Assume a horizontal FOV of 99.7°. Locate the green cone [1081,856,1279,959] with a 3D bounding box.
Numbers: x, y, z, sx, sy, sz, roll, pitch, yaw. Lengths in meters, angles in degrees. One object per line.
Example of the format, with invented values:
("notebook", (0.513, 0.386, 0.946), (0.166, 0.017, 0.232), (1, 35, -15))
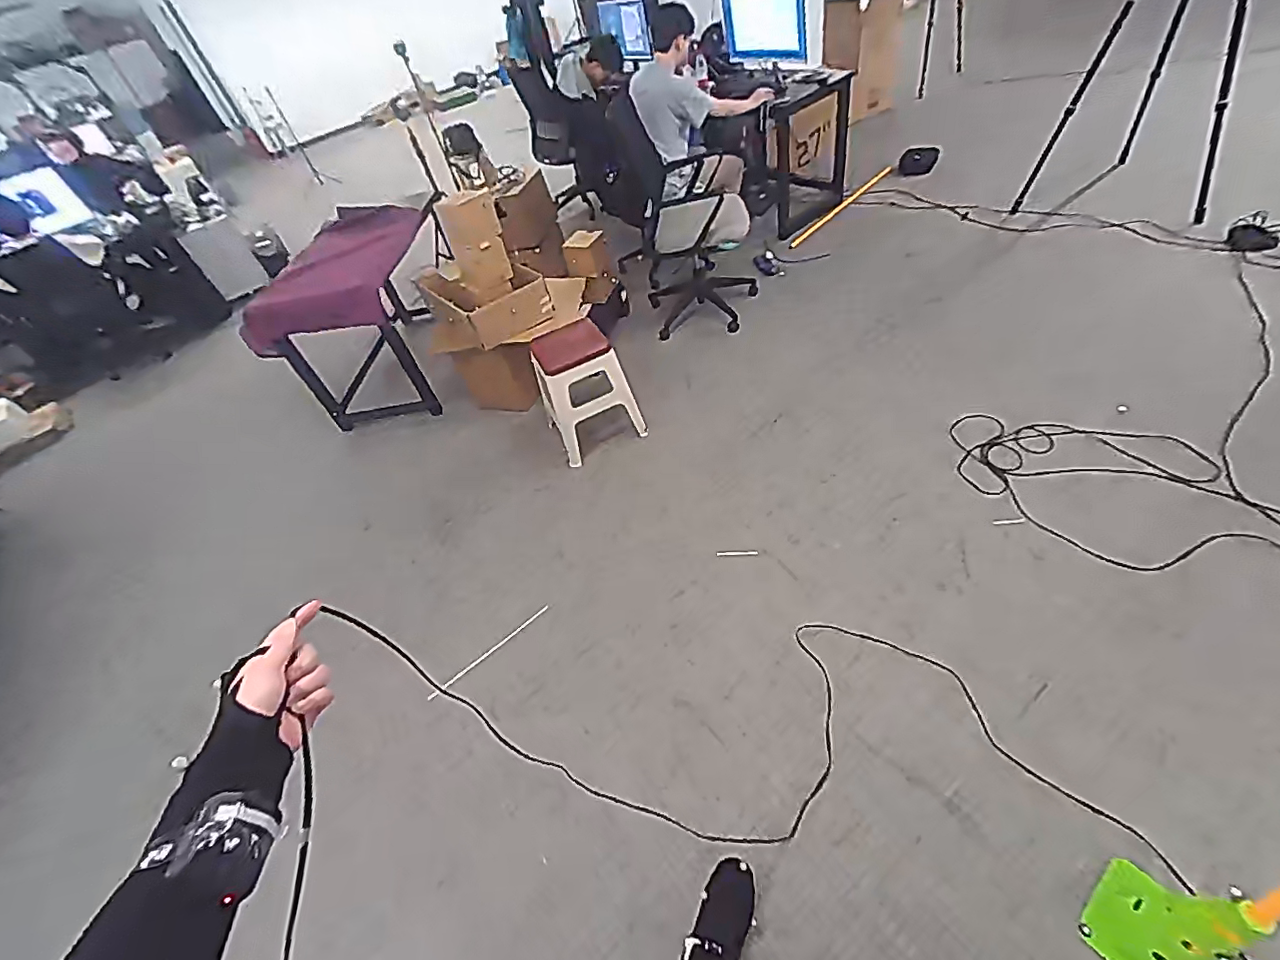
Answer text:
("green cone", (0.987, 0.781, 0.947), (0.202, 0.368, 0.200), (-38, 49, -21))
